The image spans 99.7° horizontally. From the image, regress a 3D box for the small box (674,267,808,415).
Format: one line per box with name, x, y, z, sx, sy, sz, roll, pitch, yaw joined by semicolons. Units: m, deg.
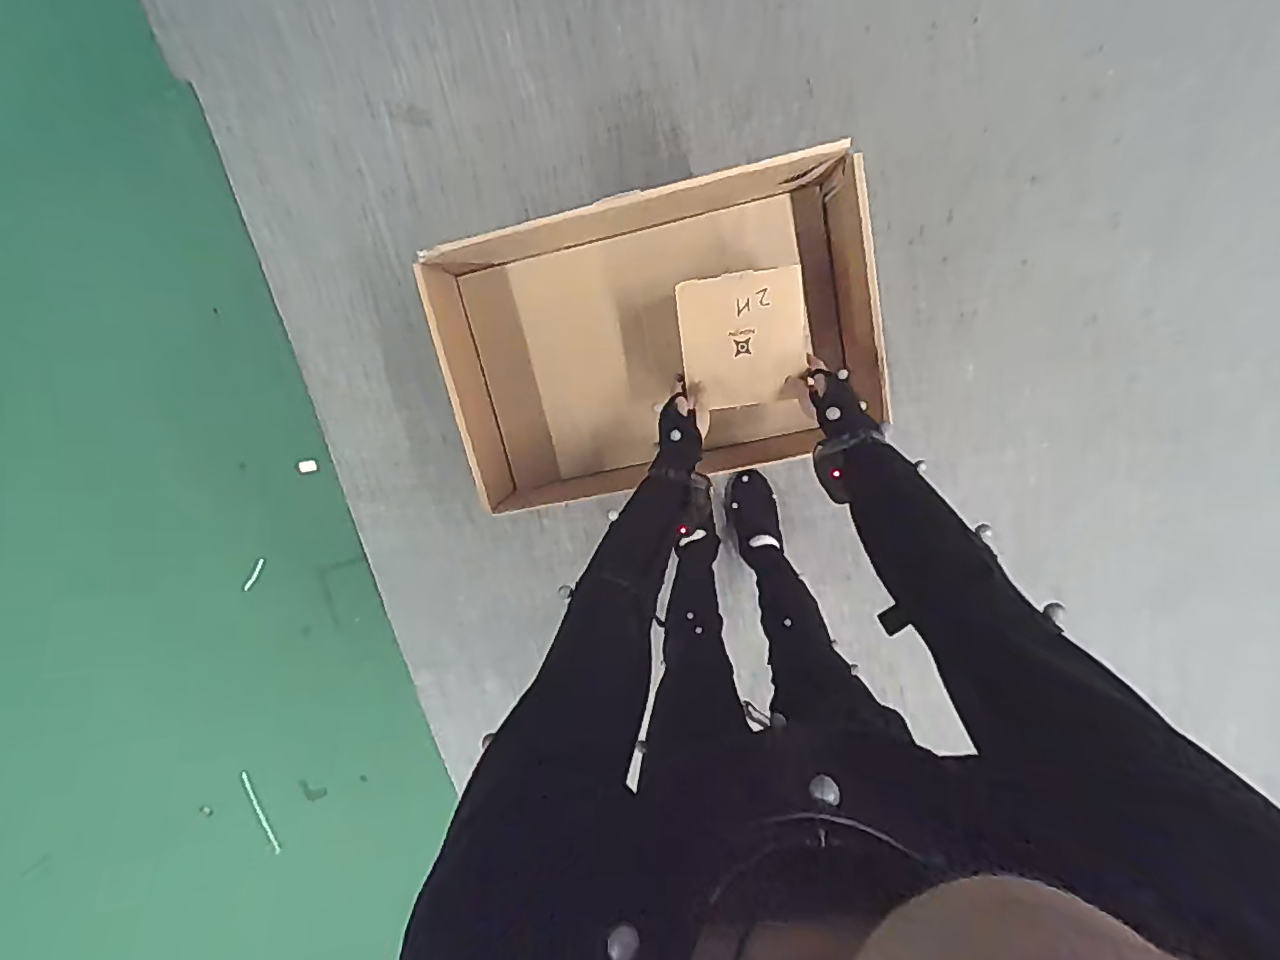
small box;0.141;-0.198;0.785;0.168;0.176;0.179;-6;102;6
